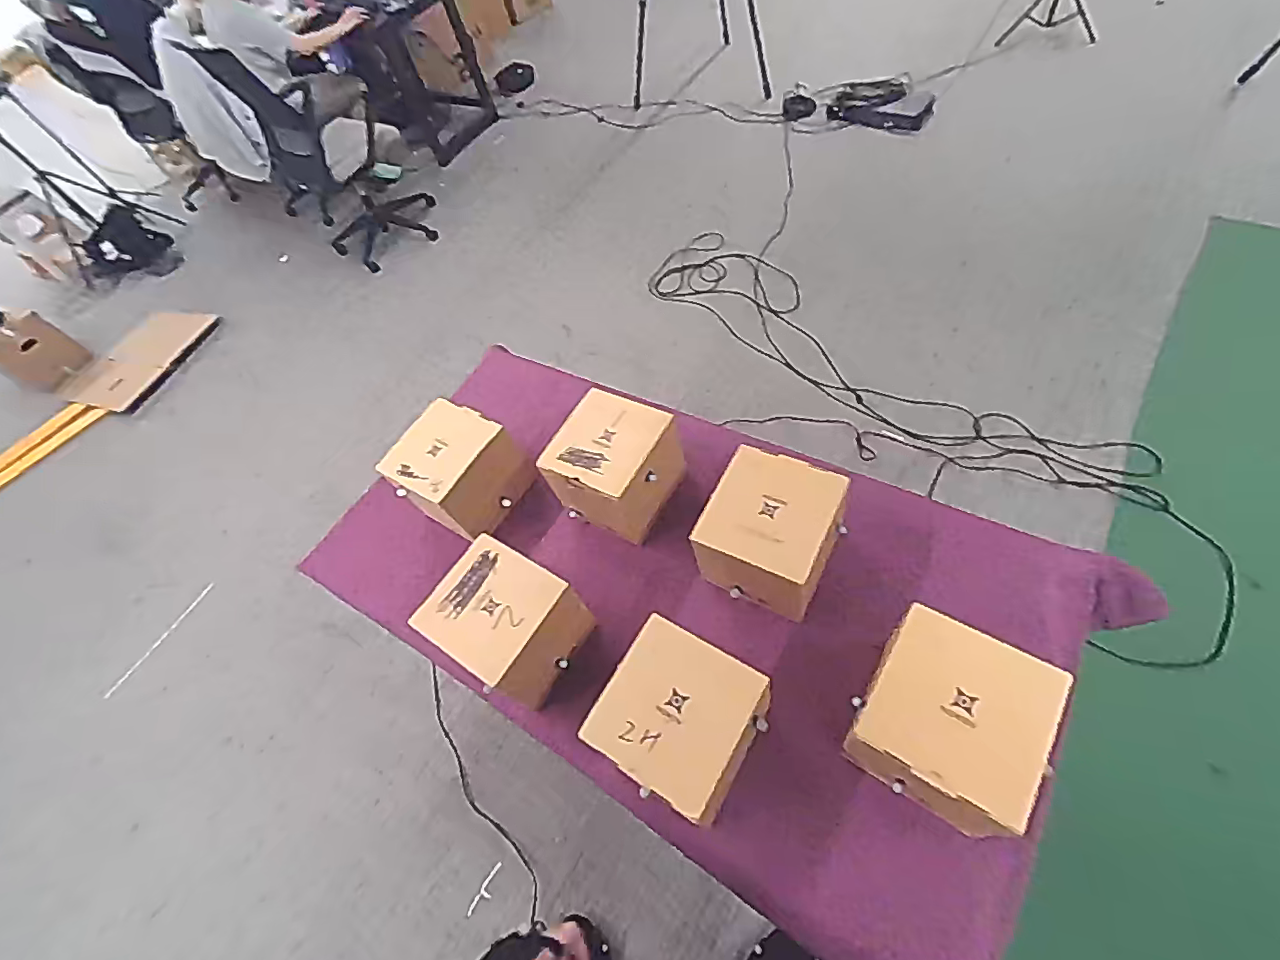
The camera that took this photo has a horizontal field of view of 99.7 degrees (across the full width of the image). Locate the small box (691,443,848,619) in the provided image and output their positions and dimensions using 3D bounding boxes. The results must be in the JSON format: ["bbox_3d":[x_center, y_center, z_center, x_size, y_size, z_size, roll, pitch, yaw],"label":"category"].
[{"bbox_3d":[0.195,0.080,0.818,0.168,0.176,0.179,22,66,26],"label":"small box"}]

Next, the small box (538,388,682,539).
[{"bbox_3d":[-0.040,-0.024,0.939,0.168,0.176,0.179,23,65,25],"label":"small box"}]

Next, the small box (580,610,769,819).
[{"bbox_3d":[0.053,0.307,0.704,0.168,0.176,0.179,24,66,26],"label":"small box"}]

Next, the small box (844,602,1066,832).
[{"bbox_3d":[0.360,0.283,0.648,0.168,0.176,0.179,25,68,27],"label":"small box"}]

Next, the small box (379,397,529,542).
[{"bbox_3d":[-0.329,-0.018,1.002,0.168,0.176,0.179,24,66,27],"label":"small box"}]
